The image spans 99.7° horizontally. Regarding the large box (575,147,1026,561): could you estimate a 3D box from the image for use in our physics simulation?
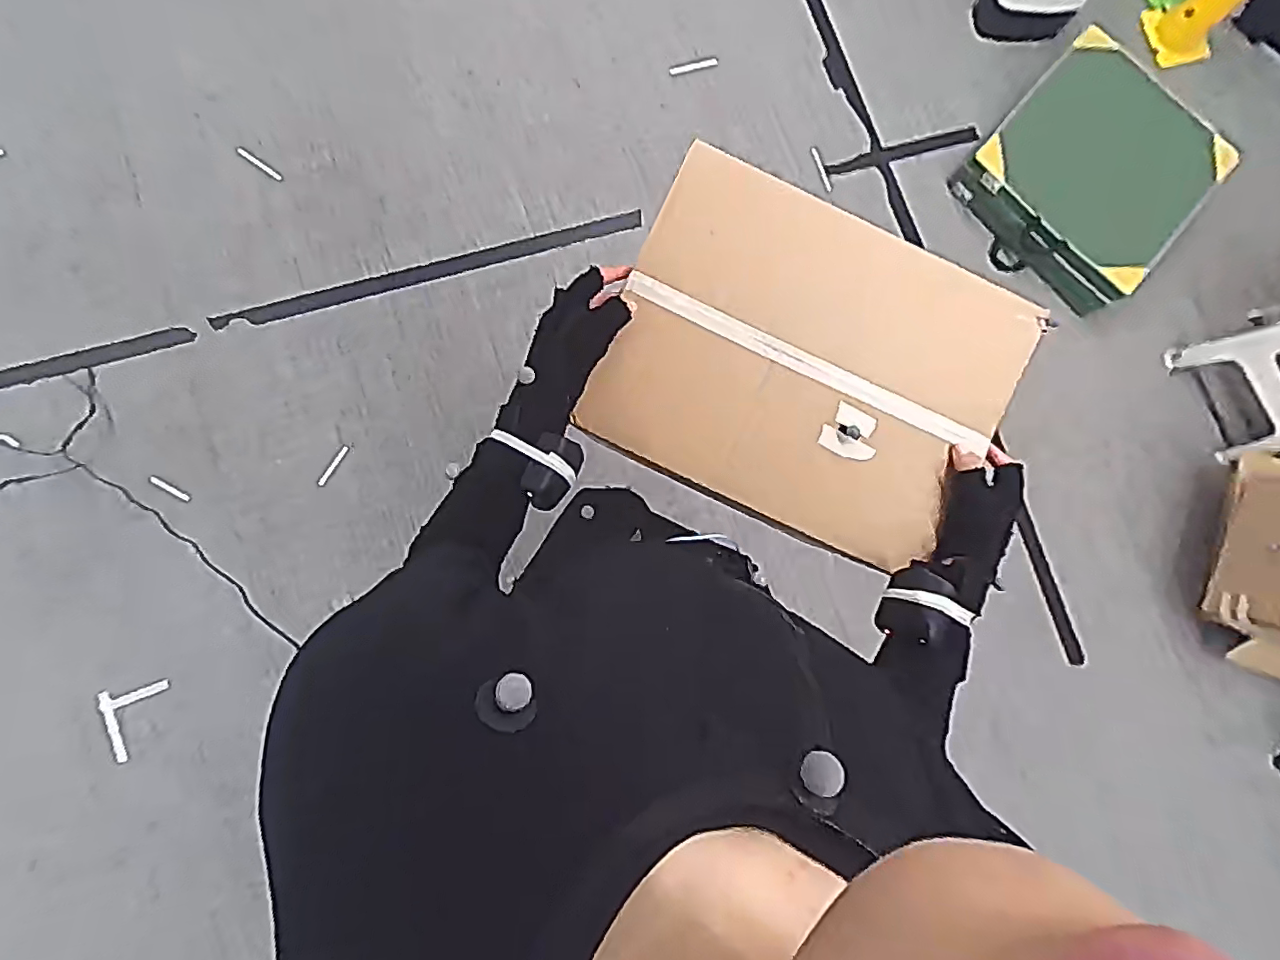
[{"bbox_3d":[0.165,-0.135,0.717,0.408,0.320,0.320,25,92,-2],"label":"large box"}]
